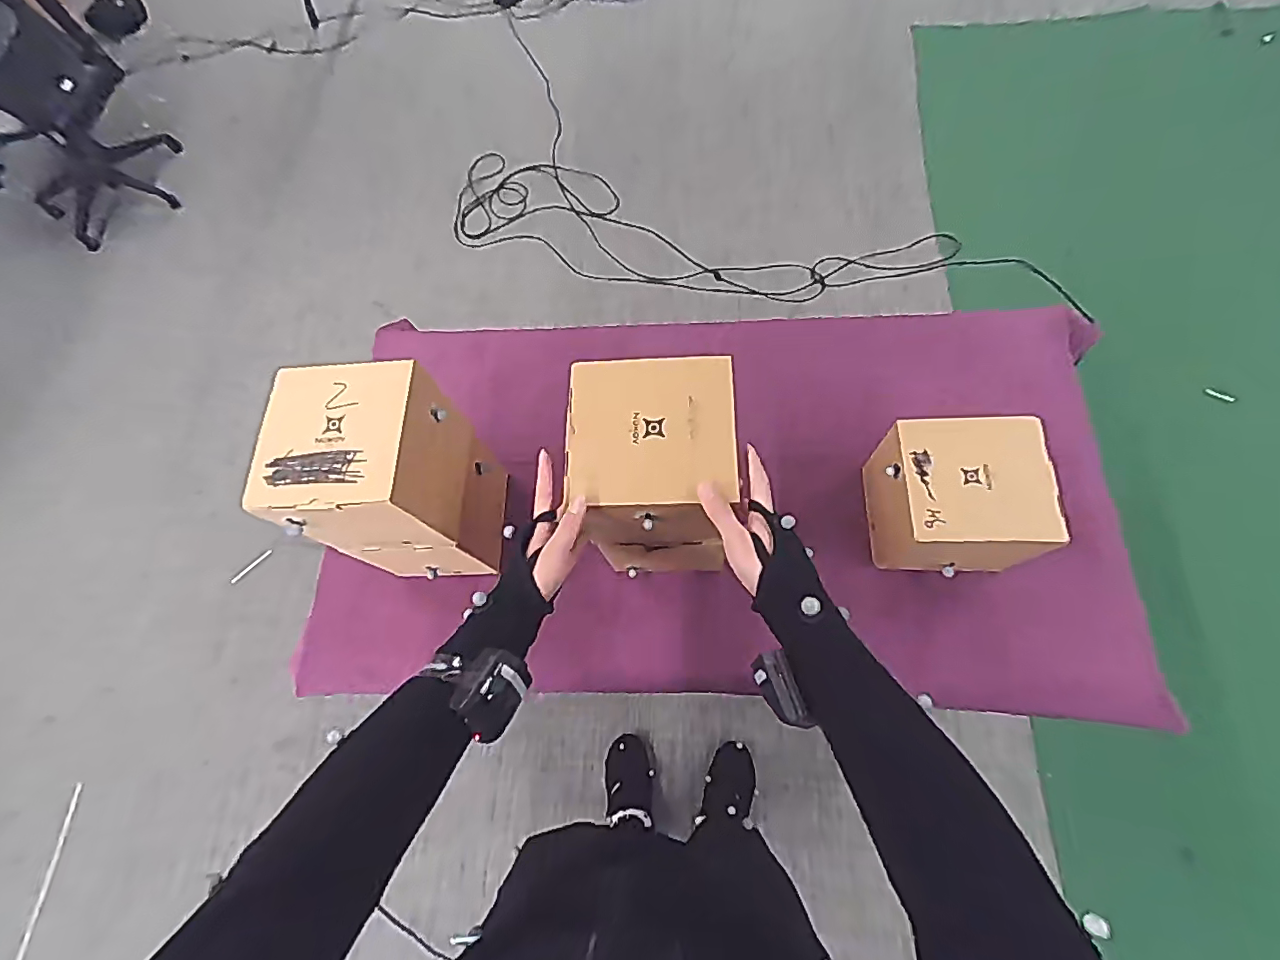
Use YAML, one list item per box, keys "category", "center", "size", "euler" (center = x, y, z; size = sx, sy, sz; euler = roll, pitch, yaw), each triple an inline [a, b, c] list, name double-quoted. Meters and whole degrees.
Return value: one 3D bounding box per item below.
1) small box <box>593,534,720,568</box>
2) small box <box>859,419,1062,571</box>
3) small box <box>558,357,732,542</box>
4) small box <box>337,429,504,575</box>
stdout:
- category: "small box"
  center: [0.031, 0.029, 0.784]
  size: [0.168, 0.176, 0.179]
  euler: [-1, 68, 6]
- category: "small box"
  center: [0.420, 0.027, 0.742]
  size: [0.179, 0.176, 0.168]
  euler: [0, 69, 6]
- category: "small box"
  center: [0.014, -0.026, 0.631]
  size: [0.179, 0.176, 0.168]
  euler: [-1, 70, 5]
- category: "small box"
  center: [-0.314, 0.039, 0.815]
  size: [0.168, 0.176, 0.179]
  euler: [-2, 69, 5]
